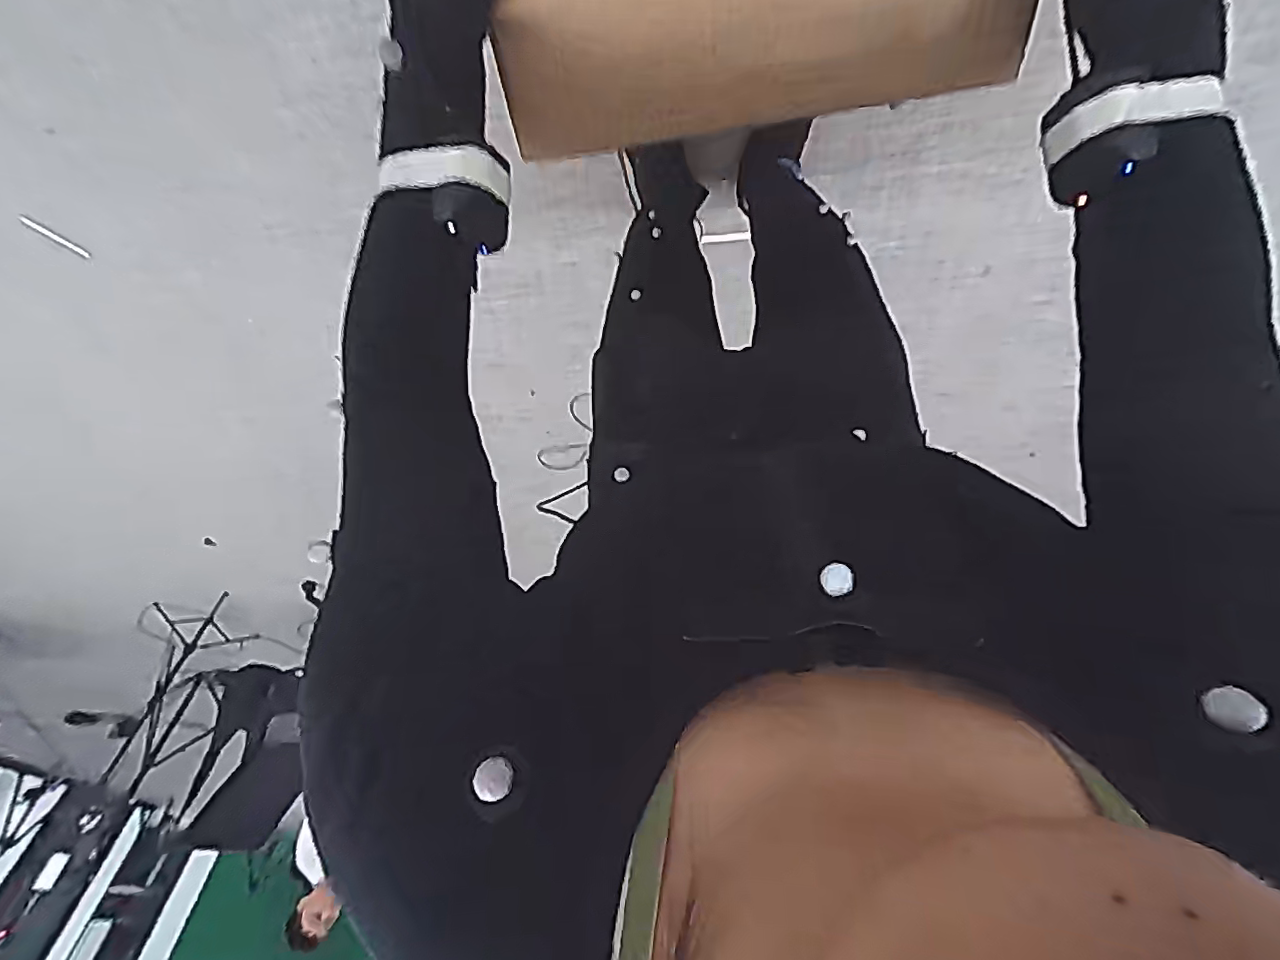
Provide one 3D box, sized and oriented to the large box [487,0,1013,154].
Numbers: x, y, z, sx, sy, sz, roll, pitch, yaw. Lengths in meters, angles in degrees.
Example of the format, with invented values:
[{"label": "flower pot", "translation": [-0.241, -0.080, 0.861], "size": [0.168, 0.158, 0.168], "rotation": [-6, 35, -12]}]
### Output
[{"label": "large box", "translation": [0.073, -0.522, 0.462], "size": [0.408, 0.320, 0.320], "rotation": [-6, 133, 5]}]
